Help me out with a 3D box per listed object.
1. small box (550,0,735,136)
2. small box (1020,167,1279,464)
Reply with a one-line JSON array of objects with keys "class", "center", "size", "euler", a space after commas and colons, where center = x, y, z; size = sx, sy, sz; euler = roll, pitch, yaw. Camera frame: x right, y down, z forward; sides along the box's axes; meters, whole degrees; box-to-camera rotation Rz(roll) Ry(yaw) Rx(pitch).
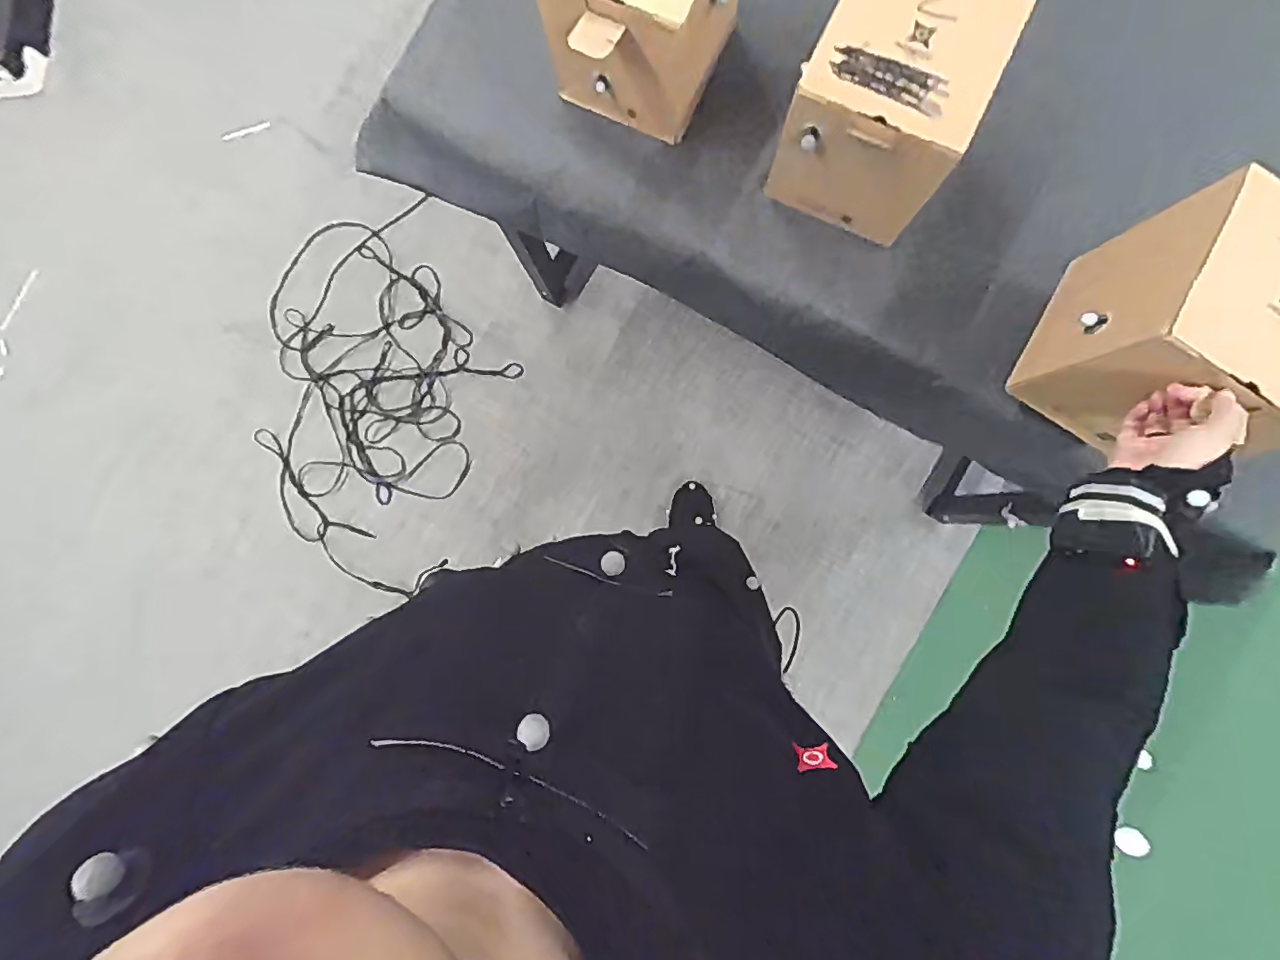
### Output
[{"class": "small box", "center": [0.007, -0.537, 0.597], "size": [0.168, 0.176, 0.179], "euler": [24, 88, 3]}, {"class": "small box", "center": [0.507, -0.130, 0.503], "size": [0.168, 0.176, 0.179], "euler": [31, 82, -3]}]
